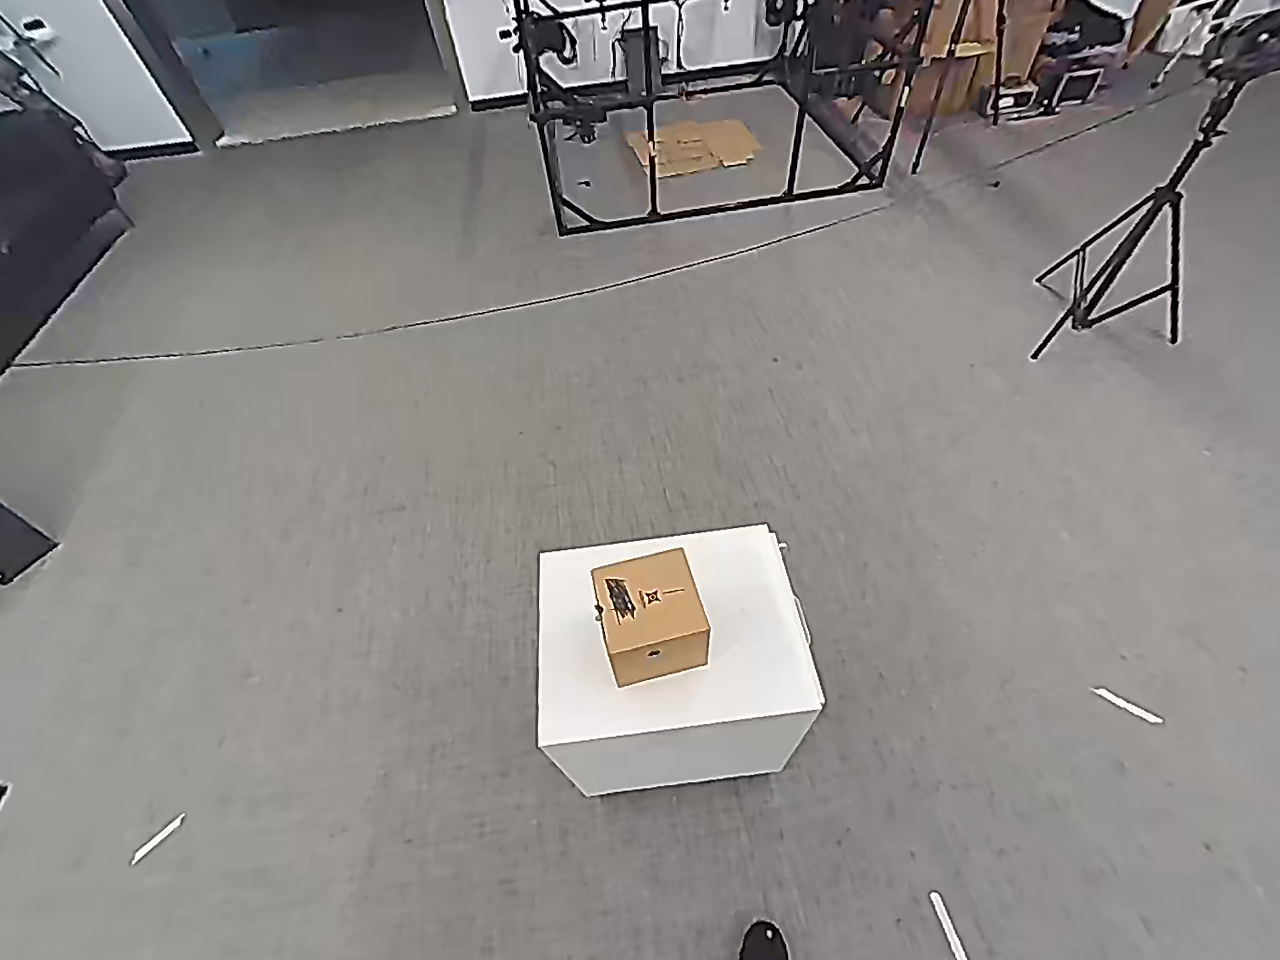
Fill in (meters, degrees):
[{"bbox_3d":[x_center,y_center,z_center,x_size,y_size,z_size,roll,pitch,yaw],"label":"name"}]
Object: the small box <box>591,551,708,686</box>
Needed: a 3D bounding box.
[{"bbox_3d":[0.019,0.259,0.993,0.179,0.176,0.168,-12,51,-6],"label":"small box"}]
